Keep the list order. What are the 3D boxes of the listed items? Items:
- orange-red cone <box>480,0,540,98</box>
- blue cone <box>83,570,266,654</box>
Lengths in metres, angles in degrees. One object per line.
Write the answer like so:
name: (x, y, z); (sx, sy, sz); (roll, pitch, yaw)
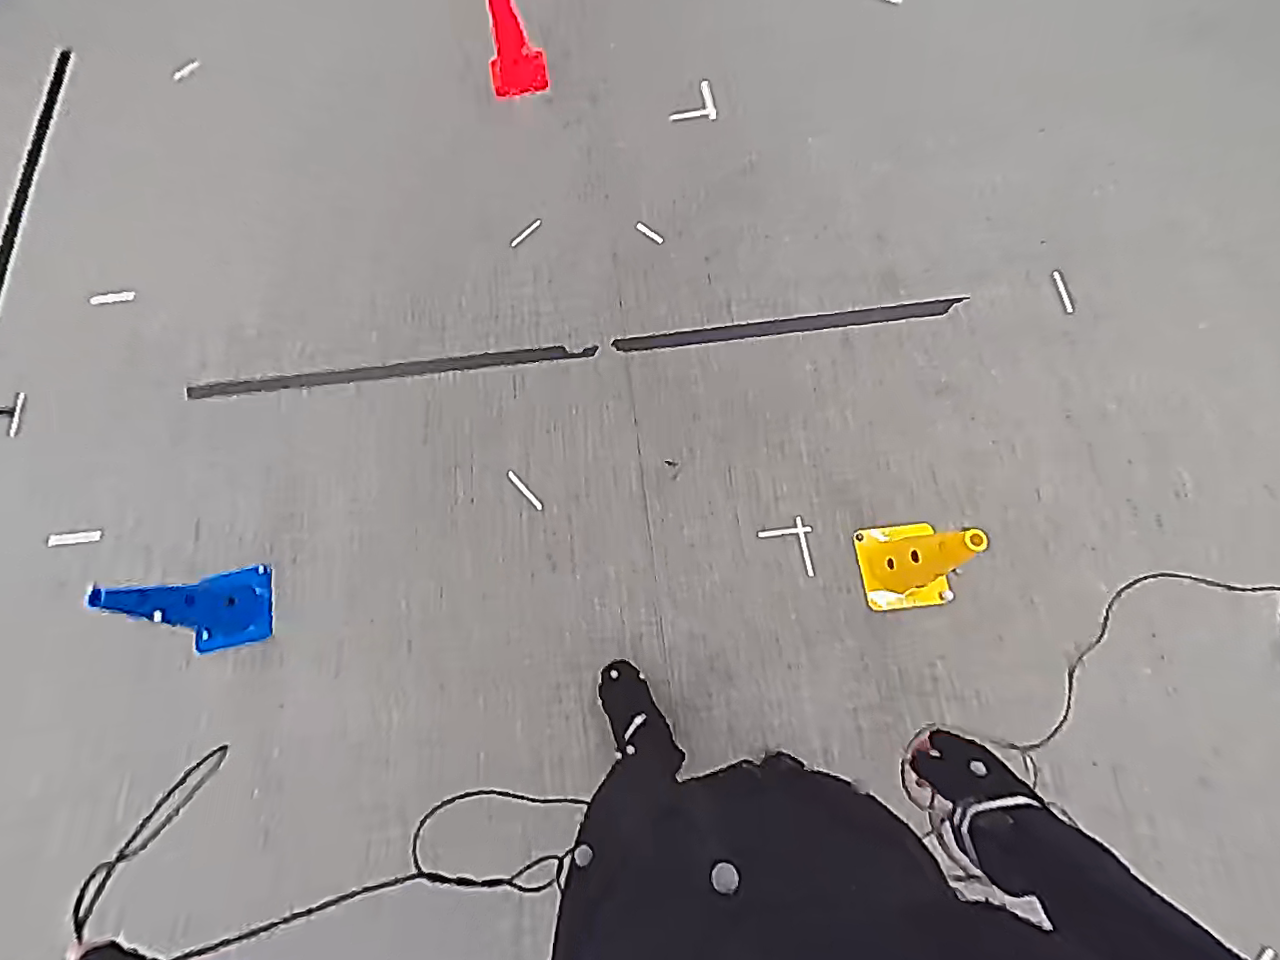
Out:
orange-red cone: (-0.473, -1.494, 1.762); (0.199, 0.360, 0.198); (-12, 72, 2)
blue cone: (-1.080, 0.296, 1.254); (0.193, 0.380, 0.192); (-12, 72, 0)
